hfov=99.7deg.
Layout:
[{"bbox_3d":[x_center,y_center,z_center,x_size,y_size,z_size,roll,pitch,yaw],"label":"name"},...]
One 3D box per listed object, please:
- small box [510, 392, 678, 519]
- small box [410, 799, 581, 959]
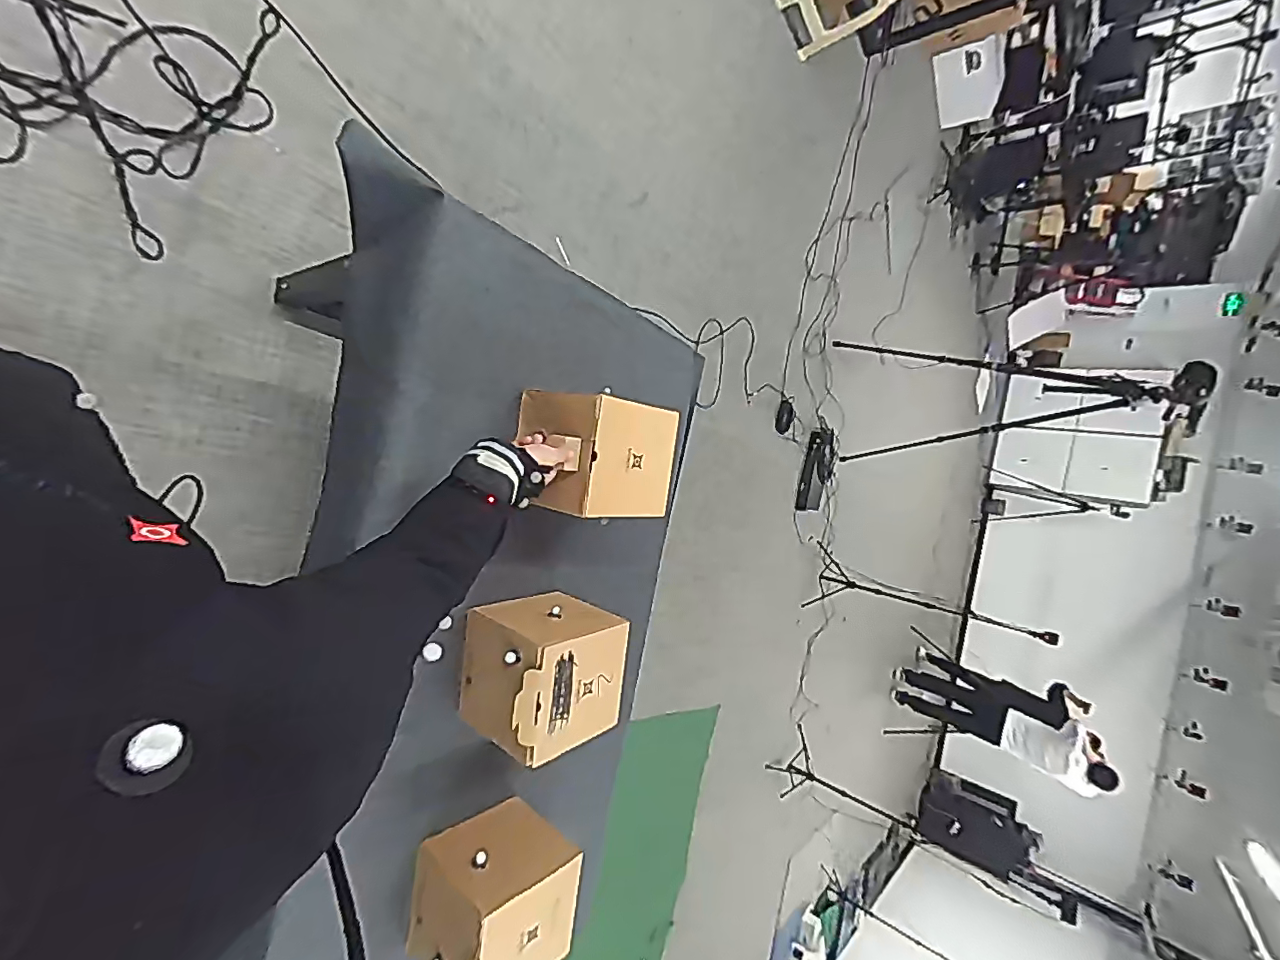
[{"bbox_3d":[-0.069,-0.038,0.822,0.179,0.176,0.168,3,96,-50],"label":"small box"},{"bbox_3d":[-0.215,0.618,0.798,0.179,0.176,0.168,3,97,-51],"label":"small box"}]
